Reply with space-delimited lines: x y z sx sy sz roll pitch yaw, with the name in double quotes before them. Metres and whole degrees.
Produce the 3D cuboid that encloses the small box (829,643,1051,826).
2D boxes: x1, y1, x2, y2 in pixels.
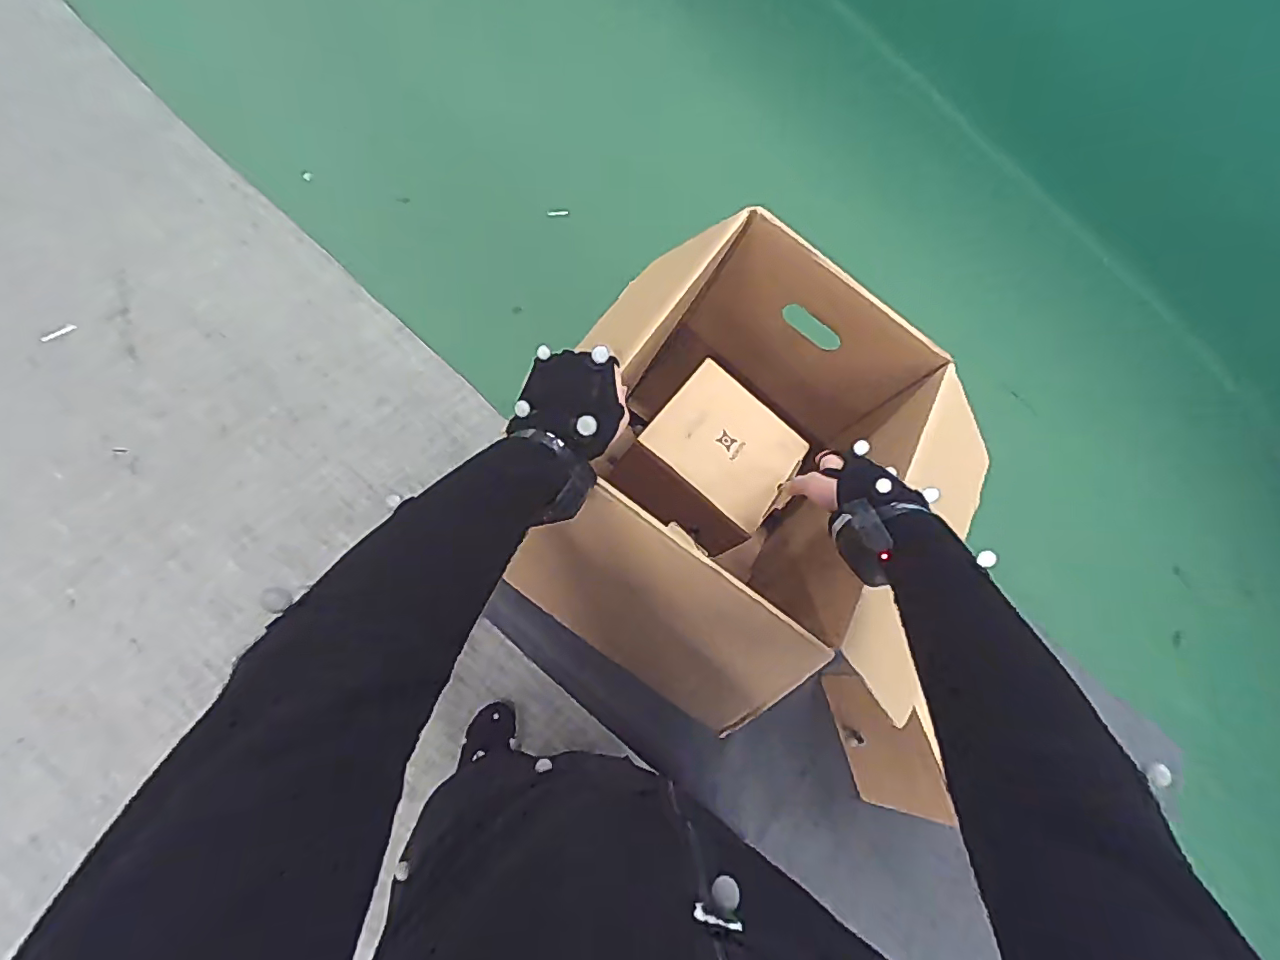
"small box" 0.394 0.330 0.738 0.168 0.176 0.179 -9 74 -19
